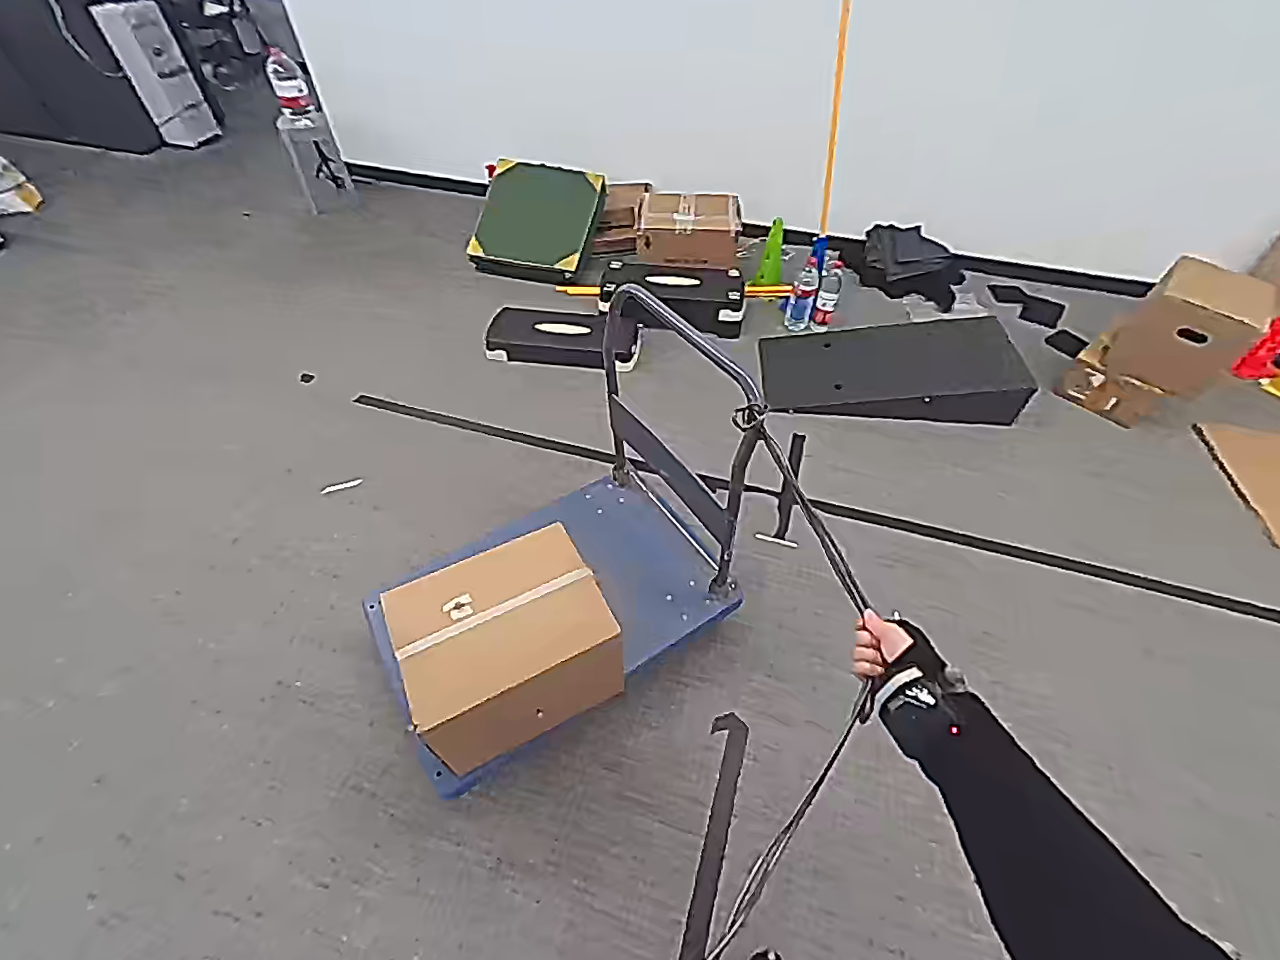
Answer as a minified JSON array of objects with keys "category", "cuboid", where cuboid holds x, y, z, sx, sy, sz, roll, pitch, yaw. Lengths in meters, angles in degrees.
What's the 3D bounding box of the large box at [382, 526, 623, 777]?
[{"category":"large box","cuboid":[-0.282,0.372,1.191,0.408,0.320,0.320,-23,52,-19]}]
